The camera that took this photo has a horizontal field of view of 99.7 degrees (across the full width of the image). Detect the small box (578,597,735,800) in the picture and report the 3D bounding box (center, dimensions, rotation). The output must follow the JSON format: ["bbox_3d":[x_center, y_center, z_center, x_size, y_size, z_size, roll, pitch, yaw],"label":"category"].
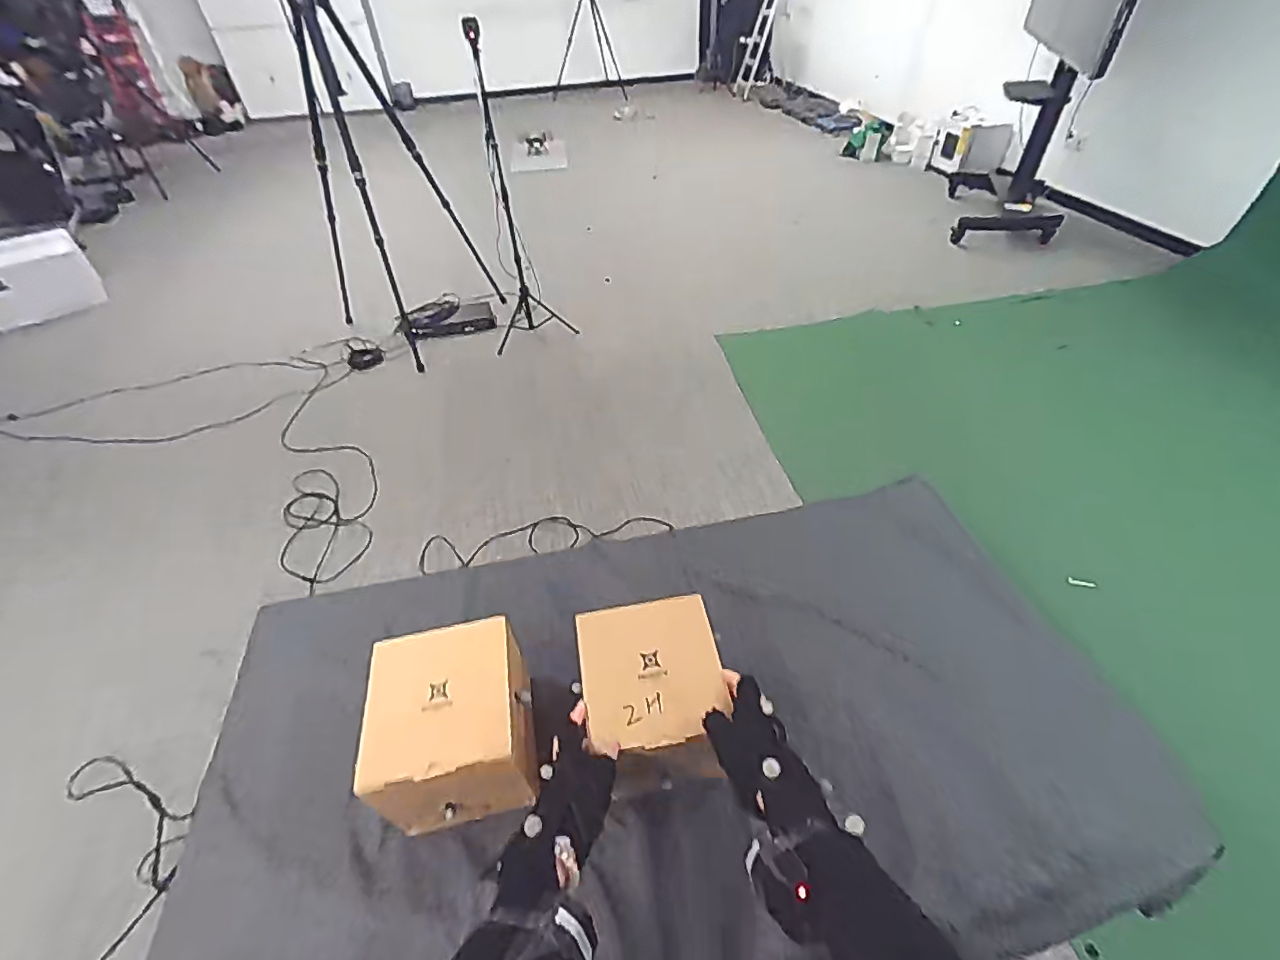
[{"bbox_3d":[0.014,0.279,0.694,0.168,0.176,0.179,-8,45,-5],"label":"small box"}]

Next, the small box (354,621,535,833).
[{"bbox_3d":[-0.232,0.309,0.681,0.168,0.176,0.179,-11,46,-8],"label":"small box"}]
